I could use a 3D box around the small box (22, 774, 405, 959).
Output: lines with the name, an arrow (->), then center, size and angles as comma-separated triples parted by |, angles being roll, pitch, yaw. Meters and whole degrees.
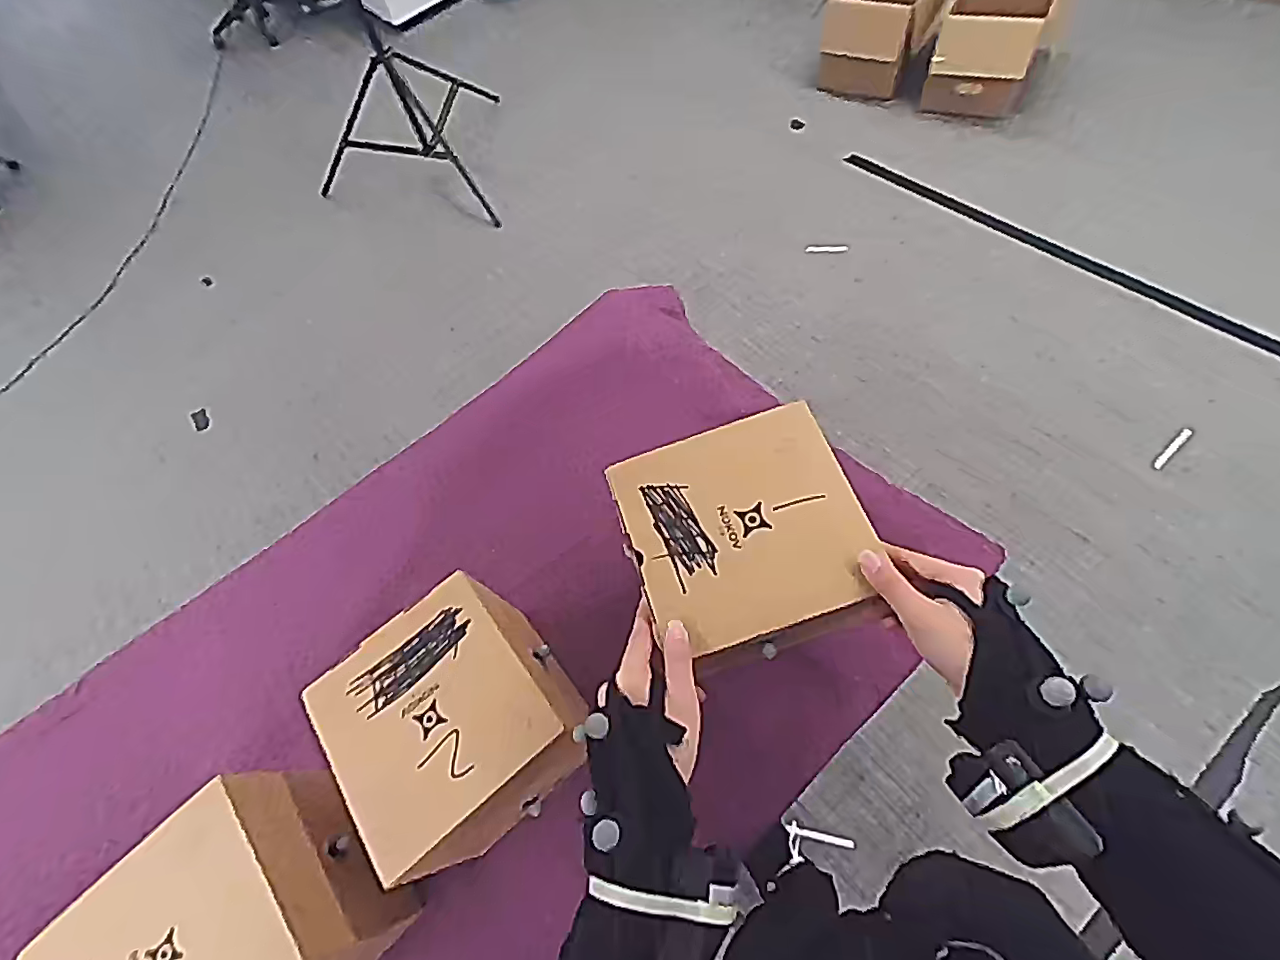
small box -> -0.333, 0.379, 0.460 | 0.179, 0.176, 0.168 | -44, 64, -13
